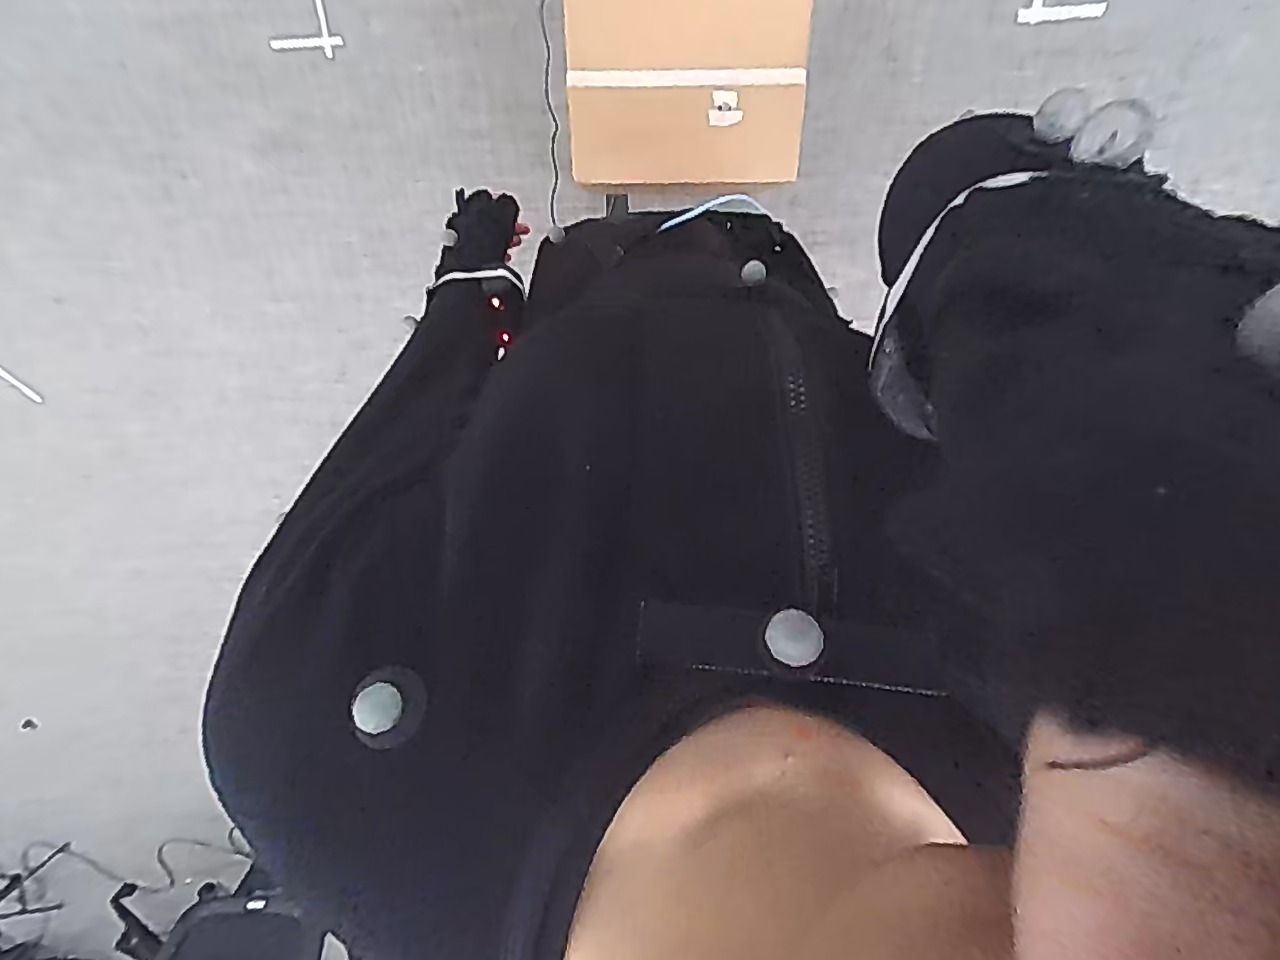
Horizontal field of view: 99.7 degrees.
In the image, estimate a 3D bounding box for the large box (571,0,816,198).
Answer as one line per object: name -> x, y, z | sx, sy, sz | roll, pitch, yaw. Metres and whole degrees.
large box -> 0.083, -0.738, 1.058 | 0.408, 0.320, 0.320 | 0, 115, -2
